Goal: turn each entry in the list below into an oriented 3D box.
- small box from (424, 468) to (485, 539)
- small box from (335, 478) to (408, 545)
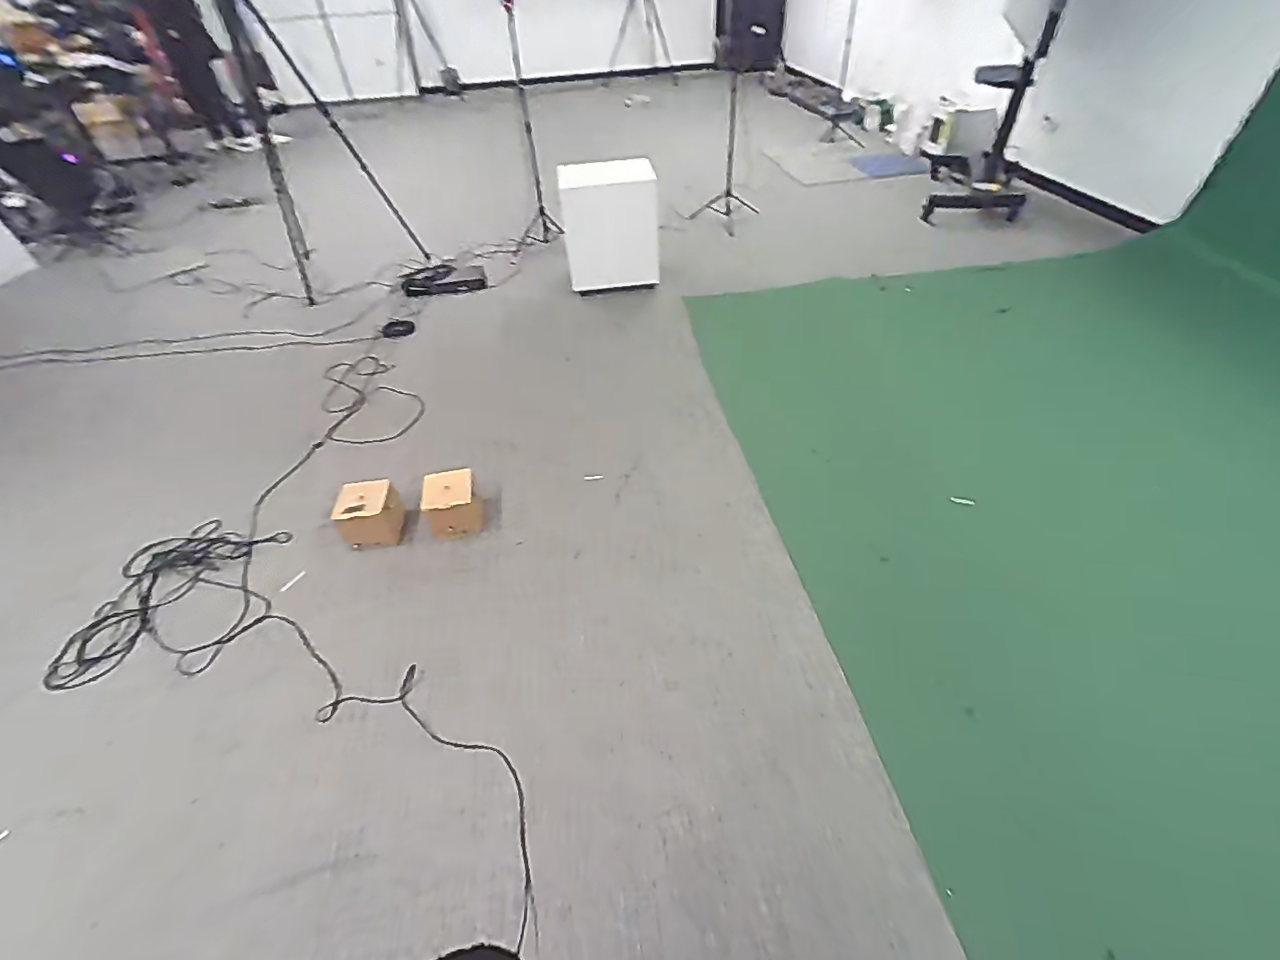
[{"bbox_3d":[-0.663,0.085,1.950,0.168,0.176,0.179,-10,46,-6],"label":"small box"},{"bbox_3d":[-0.951,0.120,1.932,0.168,0.176,0.179,-7,45,-3],"label":"small box"}]
